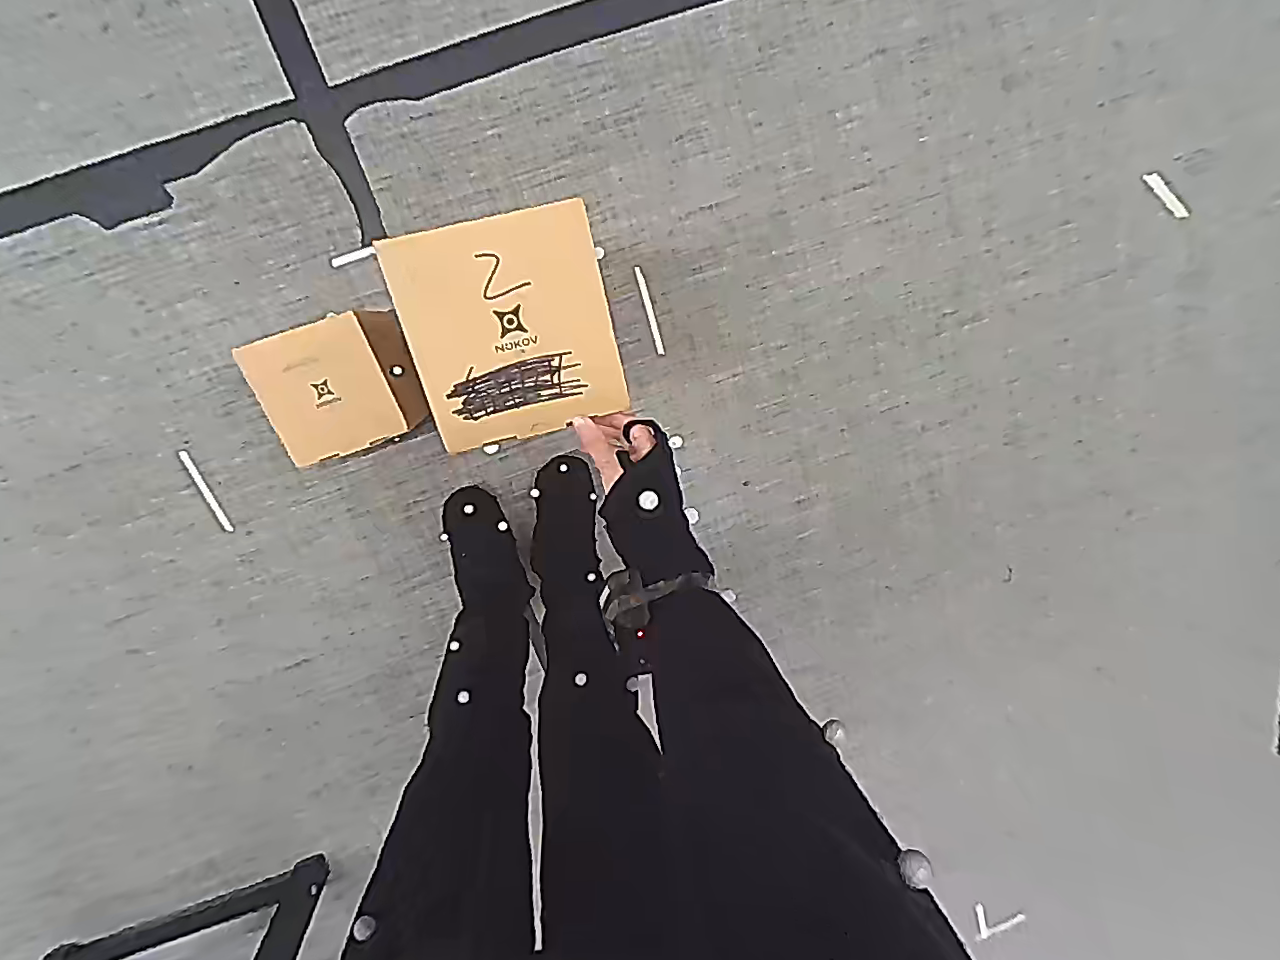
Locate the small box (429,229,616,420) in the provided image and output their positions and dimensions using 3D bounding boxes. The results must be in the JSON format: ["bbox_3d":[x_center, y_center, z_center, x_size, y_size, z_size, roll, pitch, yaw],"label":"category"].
[{"bbox_3d":[-0.135,-0.191,0.668,0.168,0.176,0.179,-16,109,-5],"label":"small box"}]

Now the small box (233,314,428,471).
[{"bbox_3d":[-0.439,-0.139,0.805,0.168,0.176,0.179,-21,109,-5],"label":"small box"}]
